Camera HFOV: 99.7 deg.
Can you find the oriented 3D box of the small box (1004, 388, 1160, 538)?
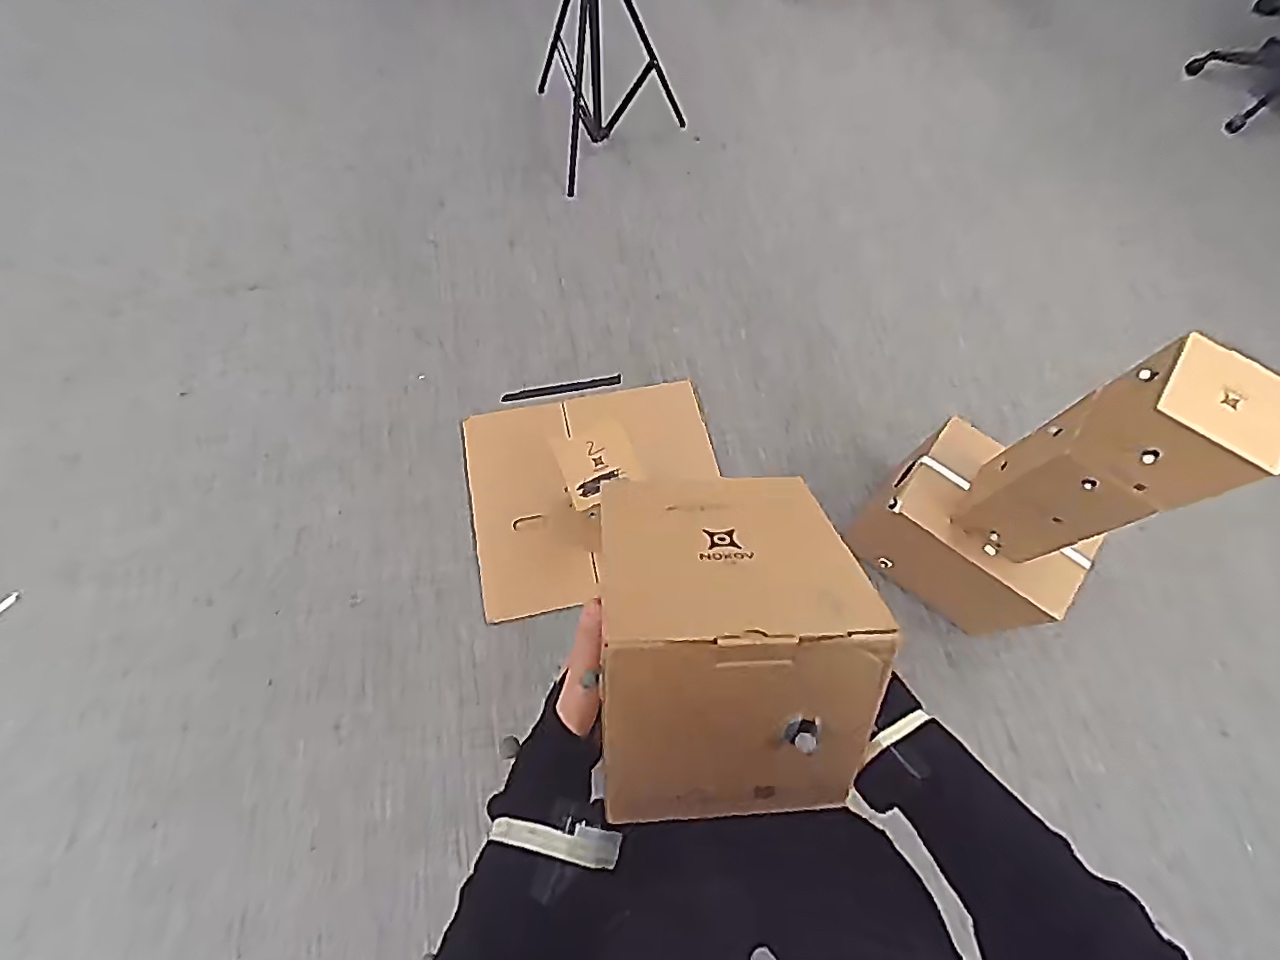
[{"bbox_3d":[0.812,-0.025,0.982,0.168,0.176,0.179,37,70,12],"label":"small box"}]

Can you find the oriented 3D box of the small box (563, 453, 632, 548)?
[{"bbox_3d":[-0.091,0.060,1.411,0.168,0.176,0.179,-19,70,-8],"label":"small box"}]

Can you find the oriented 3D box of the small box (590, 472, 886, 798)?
[{"bbox_3d":[0.049,0.109,0.400,0.168,0.176,0.179,-1,28,-5],"label":"small box"}]

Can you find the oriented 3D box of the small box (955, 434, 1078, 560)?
[{"bbox_3d":[0.804,0.040,1.132,0.168,0.176,0.179,36,71,12],"label":"small box"}]

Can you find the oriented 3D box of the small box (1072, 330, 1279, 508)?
[{"bbox_3d":[0.820,-0.084,0.830,0.168,0.176,0.179,36,70,12],"label":"small box"}]
